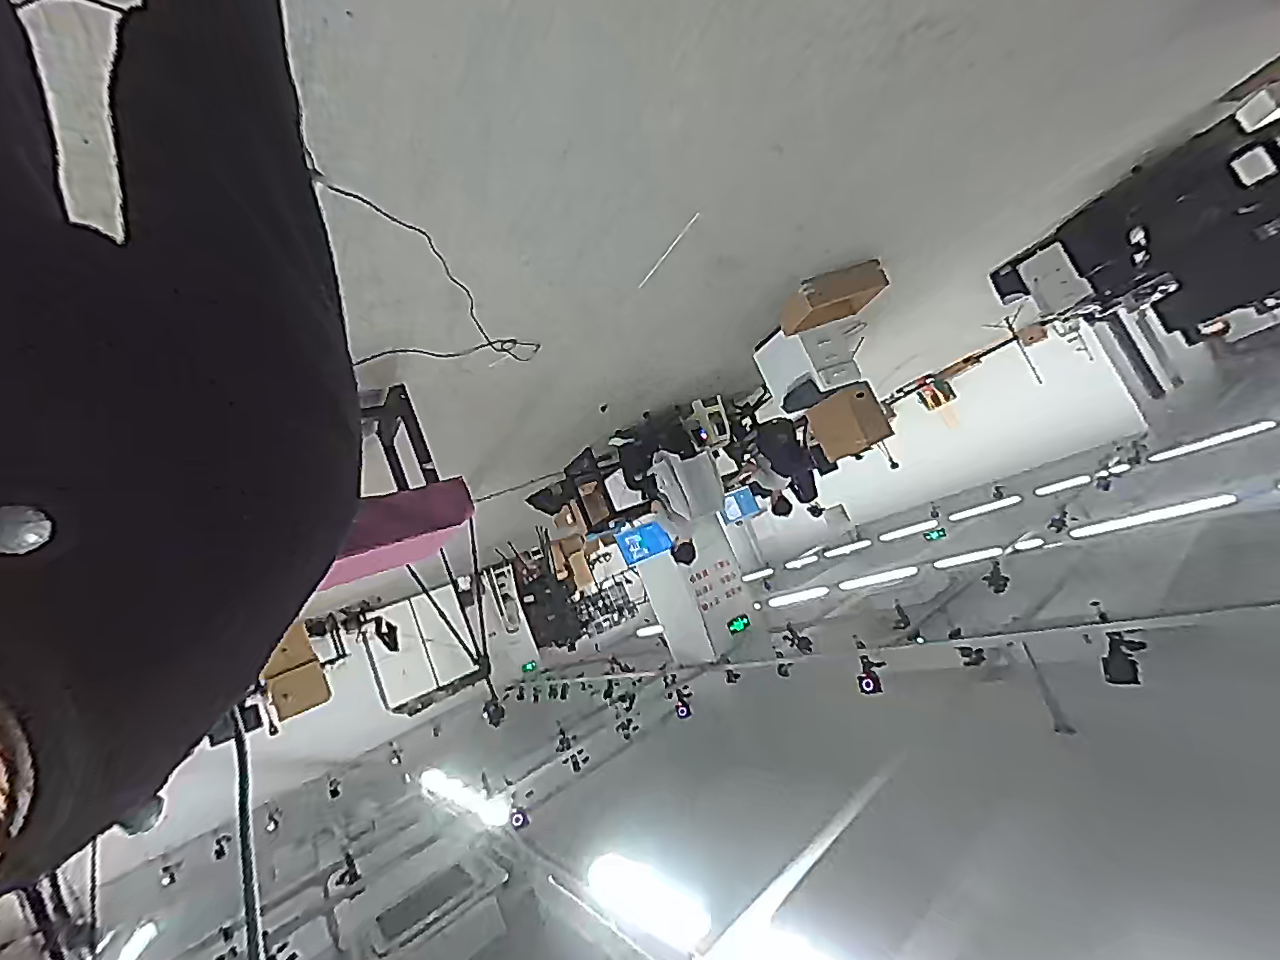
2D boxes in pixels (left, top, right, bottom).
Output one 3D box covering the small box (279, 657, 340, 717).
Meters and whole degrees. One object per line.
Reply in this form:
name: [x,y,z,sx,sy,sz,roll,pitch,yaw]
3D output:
small box: [-1.325,0.827,2.159,0.179,0.176,0.168,-18,171,-37]
